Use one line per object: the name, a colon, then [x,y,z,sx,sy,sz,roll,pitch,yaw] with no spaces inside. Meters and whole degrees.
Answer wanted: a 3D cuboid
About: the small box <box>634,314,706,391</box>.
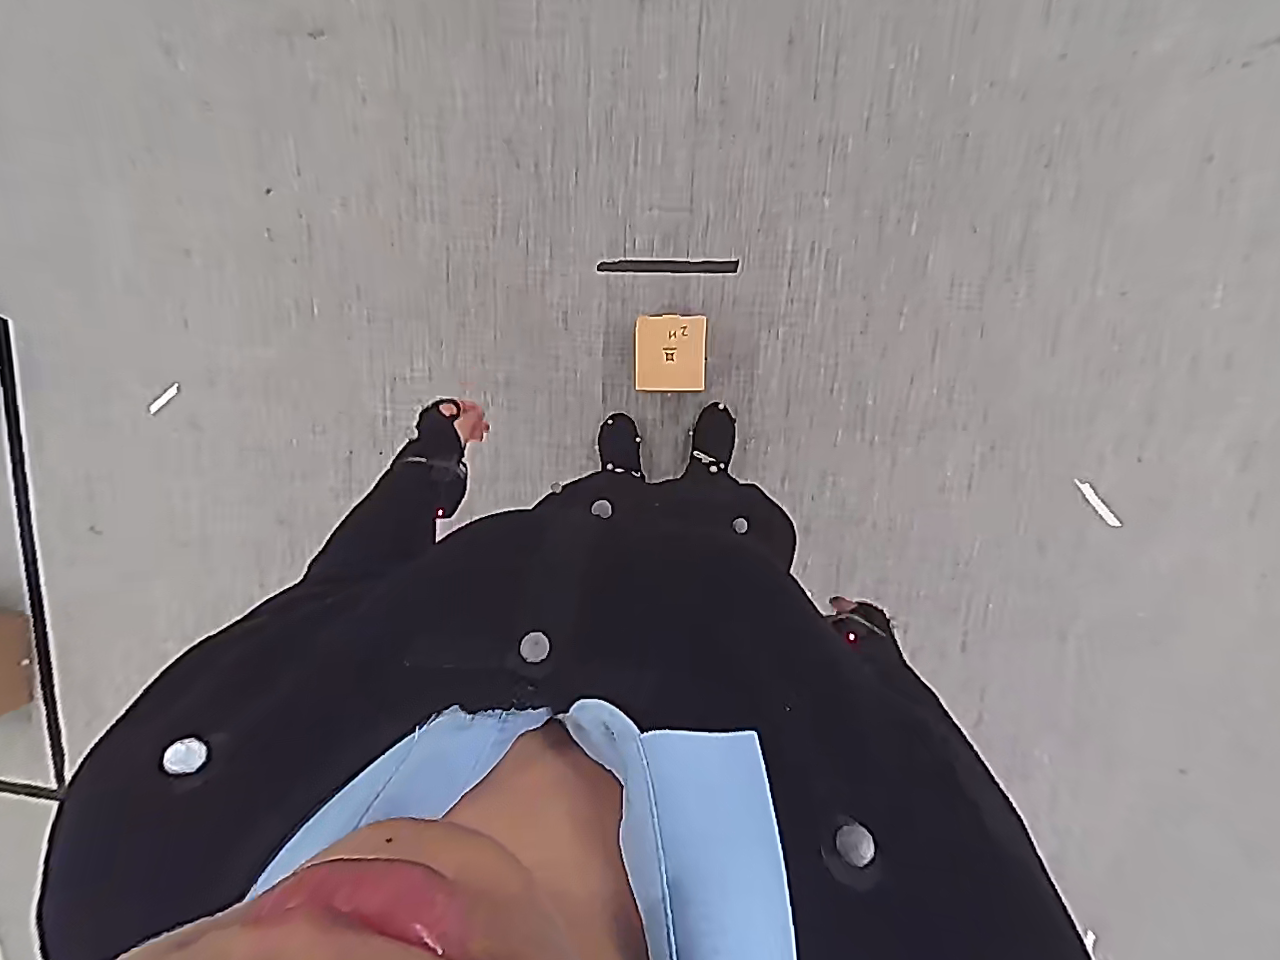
small box: [0.078,-0.311,1.346,0.168,0.176,0.179,2,99,5]
